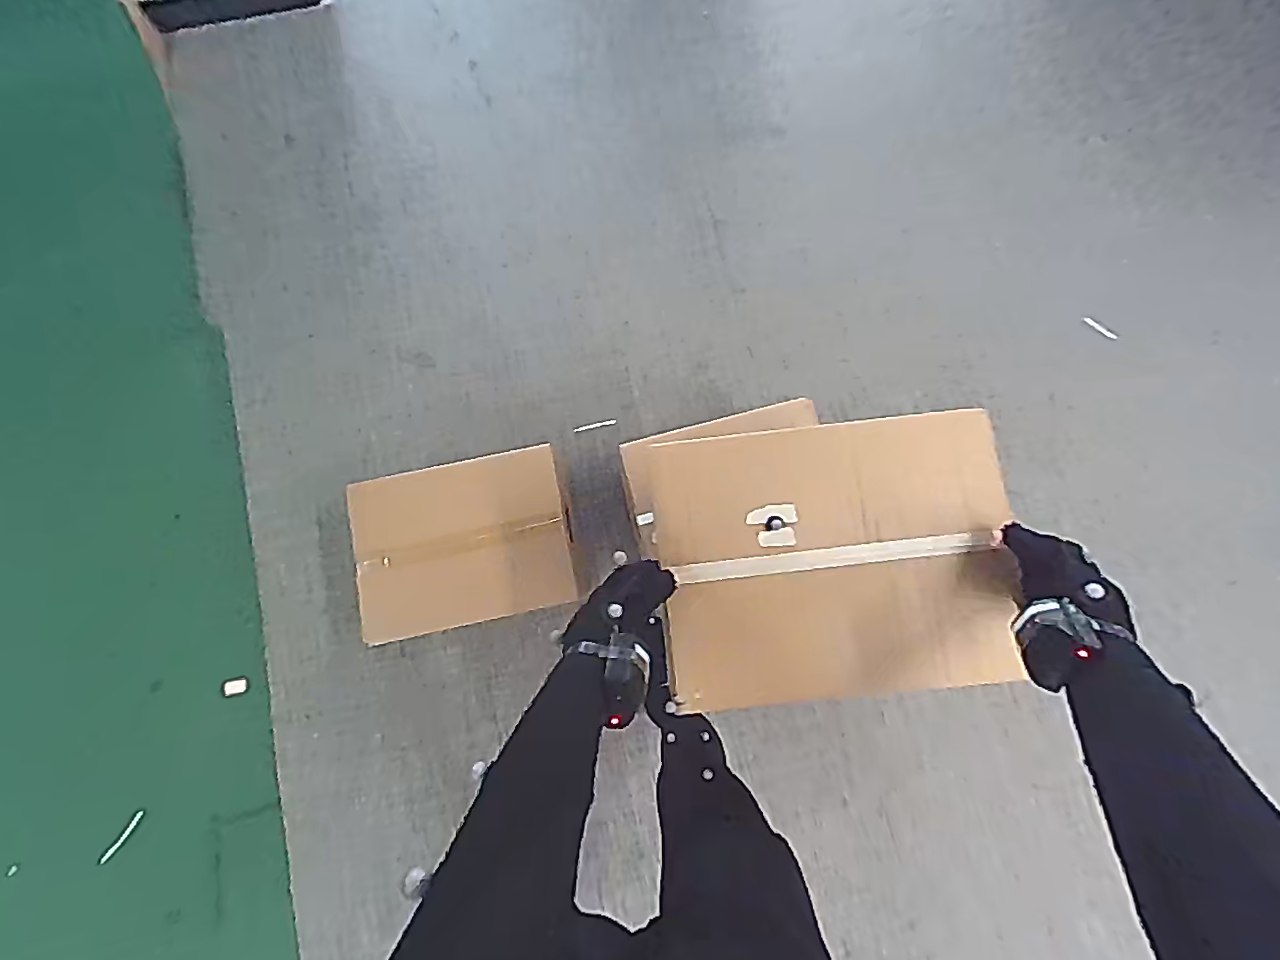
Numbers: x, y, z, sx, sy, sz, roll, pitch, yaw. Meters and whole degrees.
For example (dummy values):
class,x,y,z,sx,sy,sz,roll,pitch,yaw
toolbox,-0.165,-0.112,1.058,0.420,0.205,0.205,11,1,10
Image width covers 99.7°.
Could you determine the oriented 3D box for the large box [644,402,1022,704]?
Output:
class,x,y,z,sx,sy,sz,roll,pitch,yaw
large box,0.228,0.095,0.777,0.408,0.320,0.320,-7,84,3
